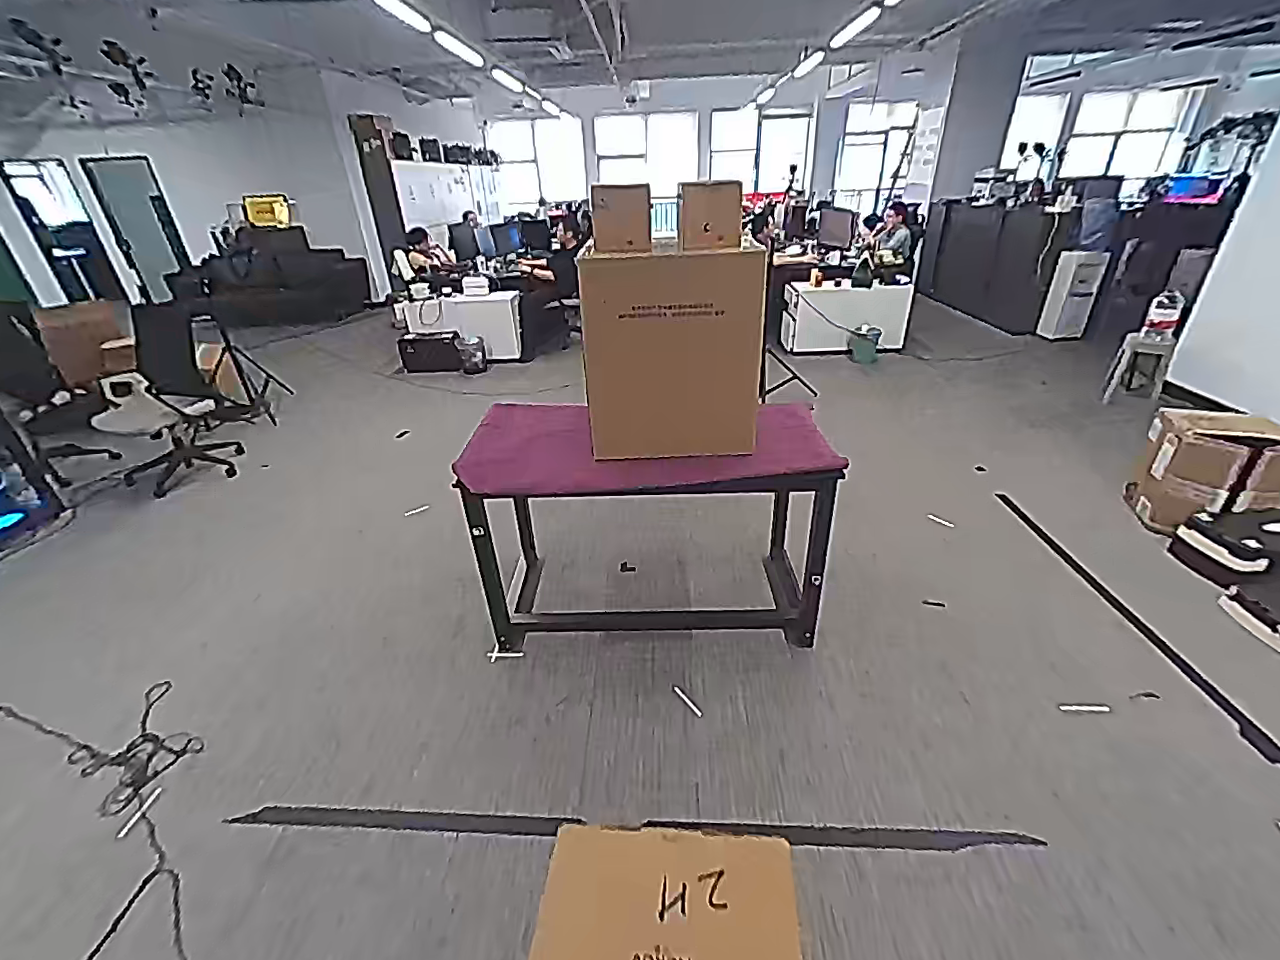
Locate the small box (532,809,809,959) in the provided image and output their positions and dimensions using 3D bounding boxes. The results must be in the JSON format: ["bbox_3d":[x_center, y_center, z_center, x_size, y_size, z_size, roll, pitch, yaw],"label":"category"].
[{"bbox_3d":[0.024,0.352,0.351,0.168,0.176,0.179,-1,29,8],"label":"small box"}]

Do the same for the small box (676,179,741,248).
[{"bbox_3d":[0.192,-0.772,1.566,0.168,0.176,0.179,-4,30,-1],"label":"small box"}]
